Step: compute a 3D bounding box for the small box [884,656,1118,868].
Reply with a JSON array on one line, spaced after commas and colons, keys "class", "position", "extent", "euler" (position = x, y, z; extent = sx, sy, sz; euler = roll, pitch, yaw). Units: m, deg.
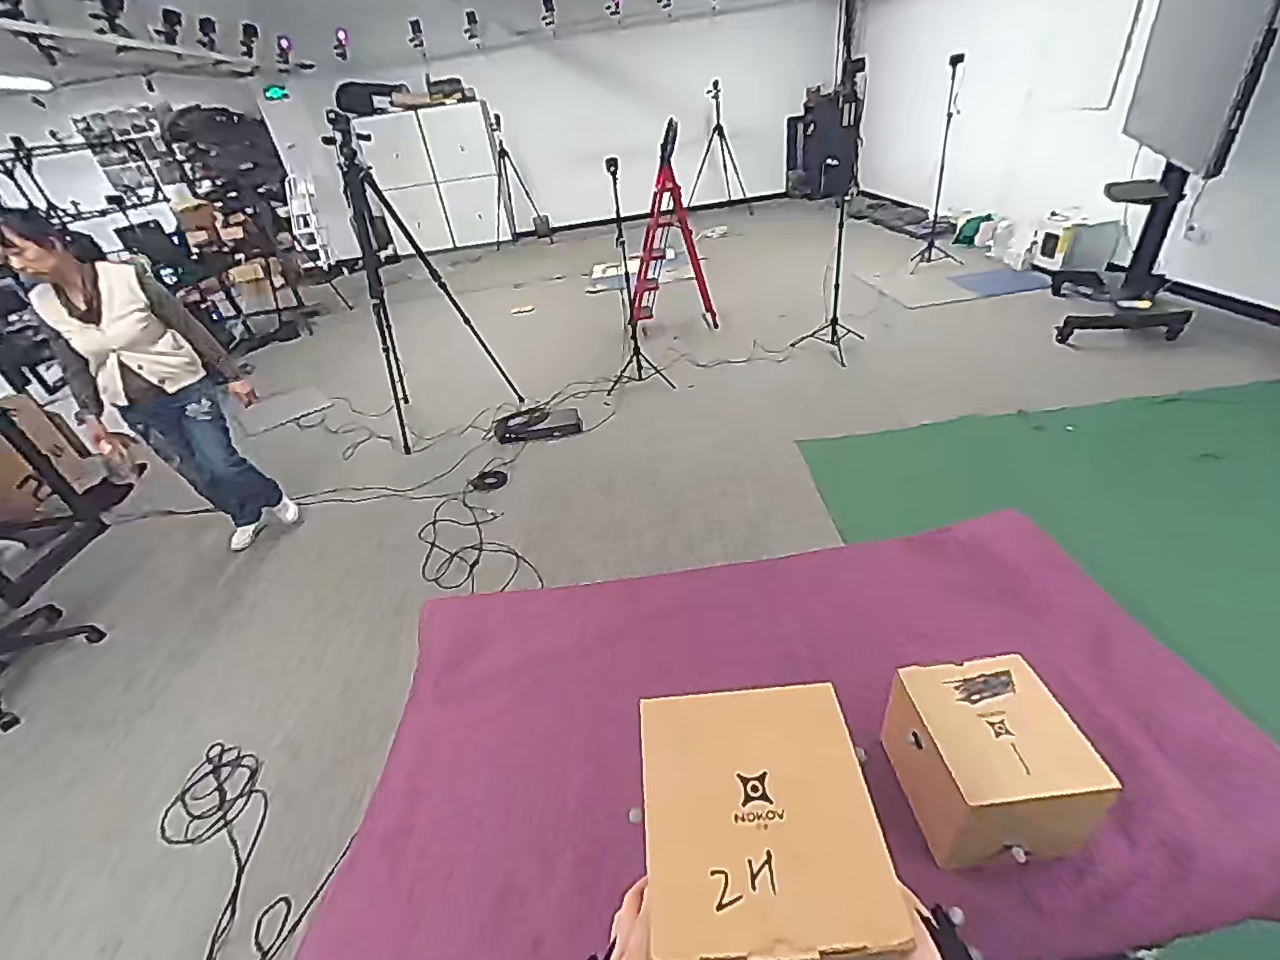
[{"class": "small box", "position": [0.432, 0.355, 0.689], "extent": [0.168, 0.176, 0.179], "euler": [-8, 35, 1]}]

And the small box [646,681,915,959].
[{"class": "small box", "position": [0.094, 0.294, 0.448], "extent": [0.168, 0.176, 0.179], "euler": [-6, 40, 3]}]
